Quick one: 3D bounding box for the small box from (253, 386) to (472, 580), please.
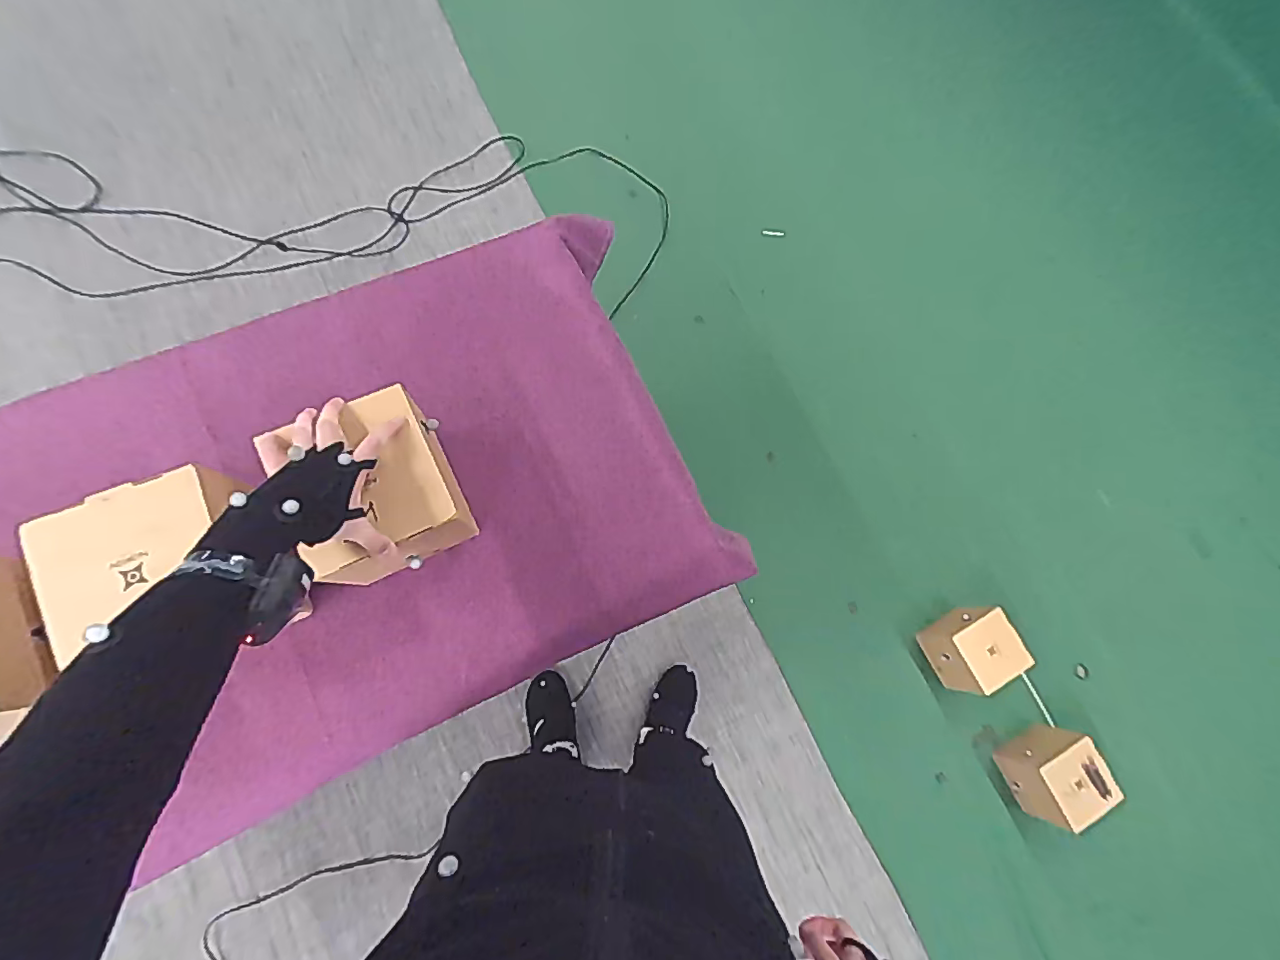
[{"bbox_3d":[-0.330,0.014,0.678,0.168,0.176,0.179,-25,82,-12],"label":"small box"}]

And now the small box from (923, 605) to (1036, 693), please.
[{"bbox_3d":[0.912,0.459,1.478,0.179,0.176,0.168,-26,80,-13],"label":"small box"}]
